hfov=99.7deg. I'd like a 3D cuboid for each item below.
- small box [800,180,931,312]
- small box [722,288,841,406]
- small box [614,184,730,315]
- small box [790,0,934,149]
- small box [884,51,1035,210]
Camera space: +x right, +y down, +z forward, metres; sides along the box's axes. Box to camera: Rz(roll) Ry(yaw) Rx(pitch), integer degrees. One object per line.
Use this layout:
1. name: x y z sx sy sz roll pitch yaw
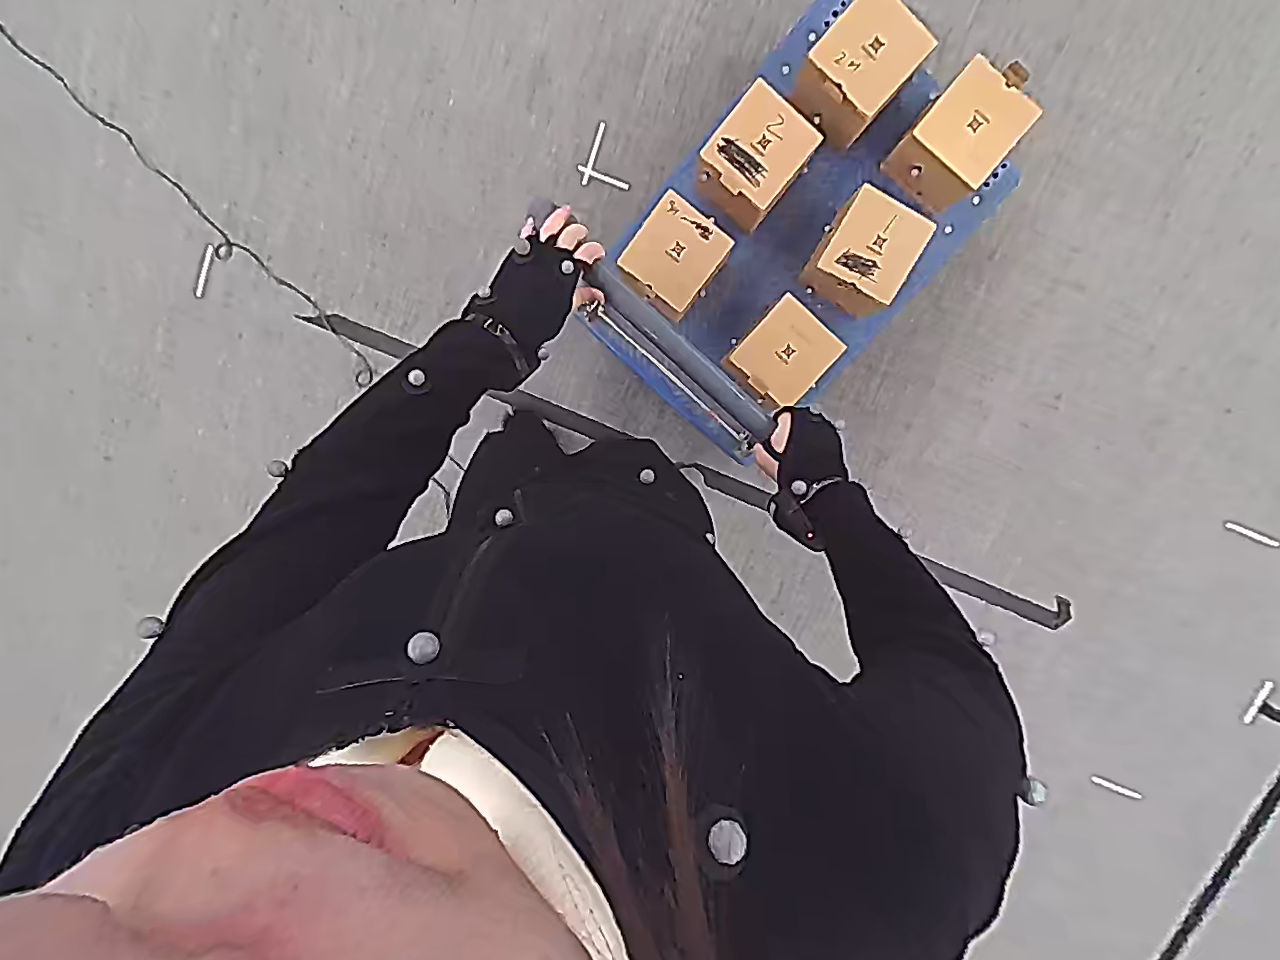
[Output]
1. small box: 0.454 -0.475 1.129 0.168 0.176 0.179 30 98 -3
2. small box: 0.293 -0.278 1.168 0.168 0.176 0.179 42 98 -5
3. small box: 0.068 -0.471 1.142 0.168 0.176 0.179 38 99 -5
4. small box: 0.425 -0.811 1.072 0.168 0.176 0.179 44 99 -5
5. small box: 0.623 -0.686 1.088 0.168 0.176 0.179 39 99 -4
